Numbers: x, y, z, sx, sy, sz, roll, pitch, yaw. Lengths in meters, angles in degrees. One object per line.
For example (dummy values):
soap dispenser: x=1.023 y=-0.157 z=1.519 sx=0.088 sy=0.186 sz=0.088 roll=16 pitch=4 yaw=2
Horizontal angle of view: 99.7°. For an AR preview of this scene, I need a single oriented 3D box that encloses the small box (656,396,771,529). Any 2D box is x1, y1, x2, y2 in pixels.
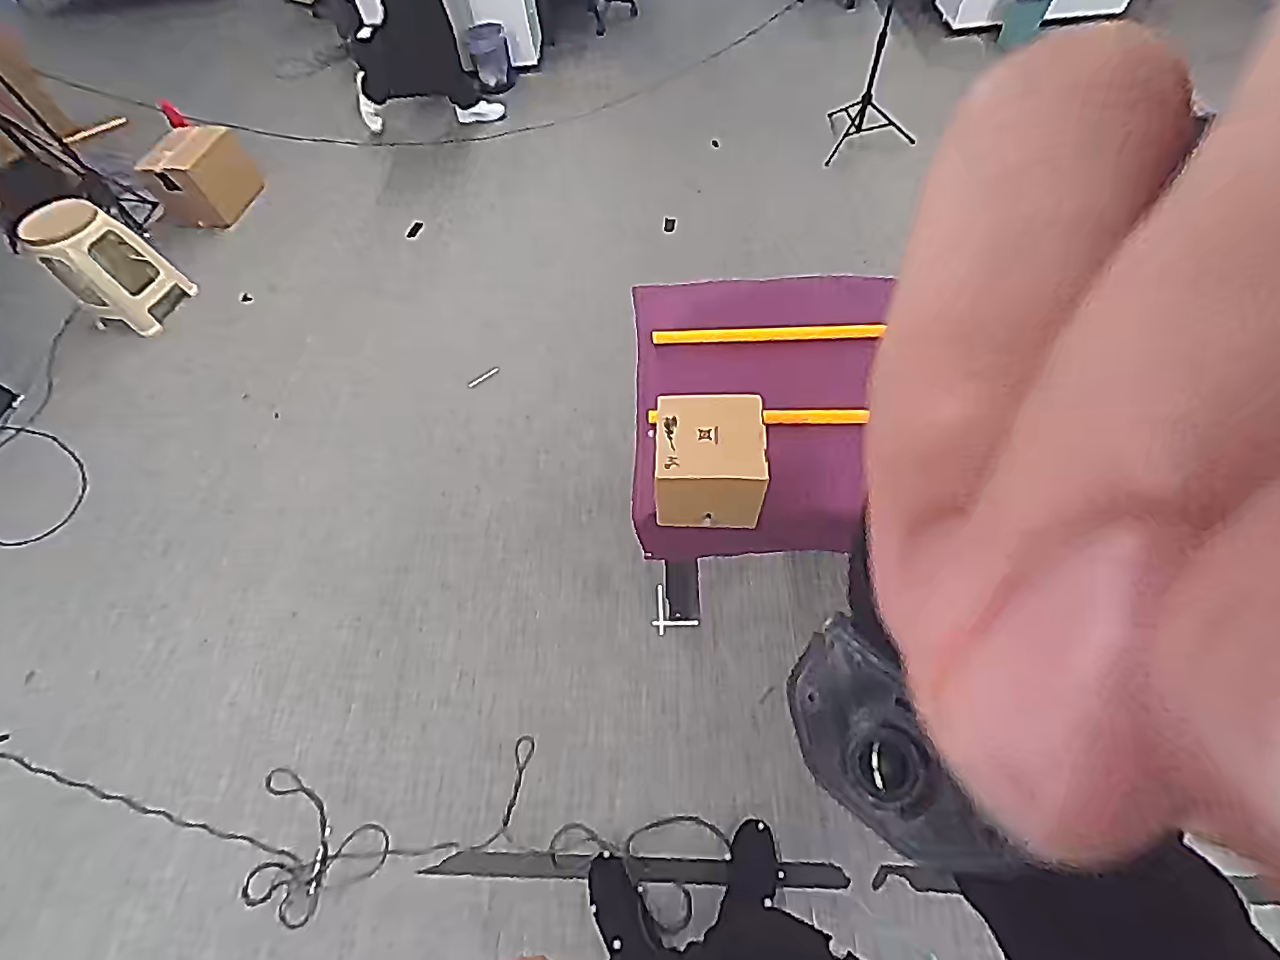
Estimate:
small box: x=0.118 y=-0.025 z=0.927 sx=0.179 sy=0.176 sz=0.168 roll=1 pitch=59 yaw=4
